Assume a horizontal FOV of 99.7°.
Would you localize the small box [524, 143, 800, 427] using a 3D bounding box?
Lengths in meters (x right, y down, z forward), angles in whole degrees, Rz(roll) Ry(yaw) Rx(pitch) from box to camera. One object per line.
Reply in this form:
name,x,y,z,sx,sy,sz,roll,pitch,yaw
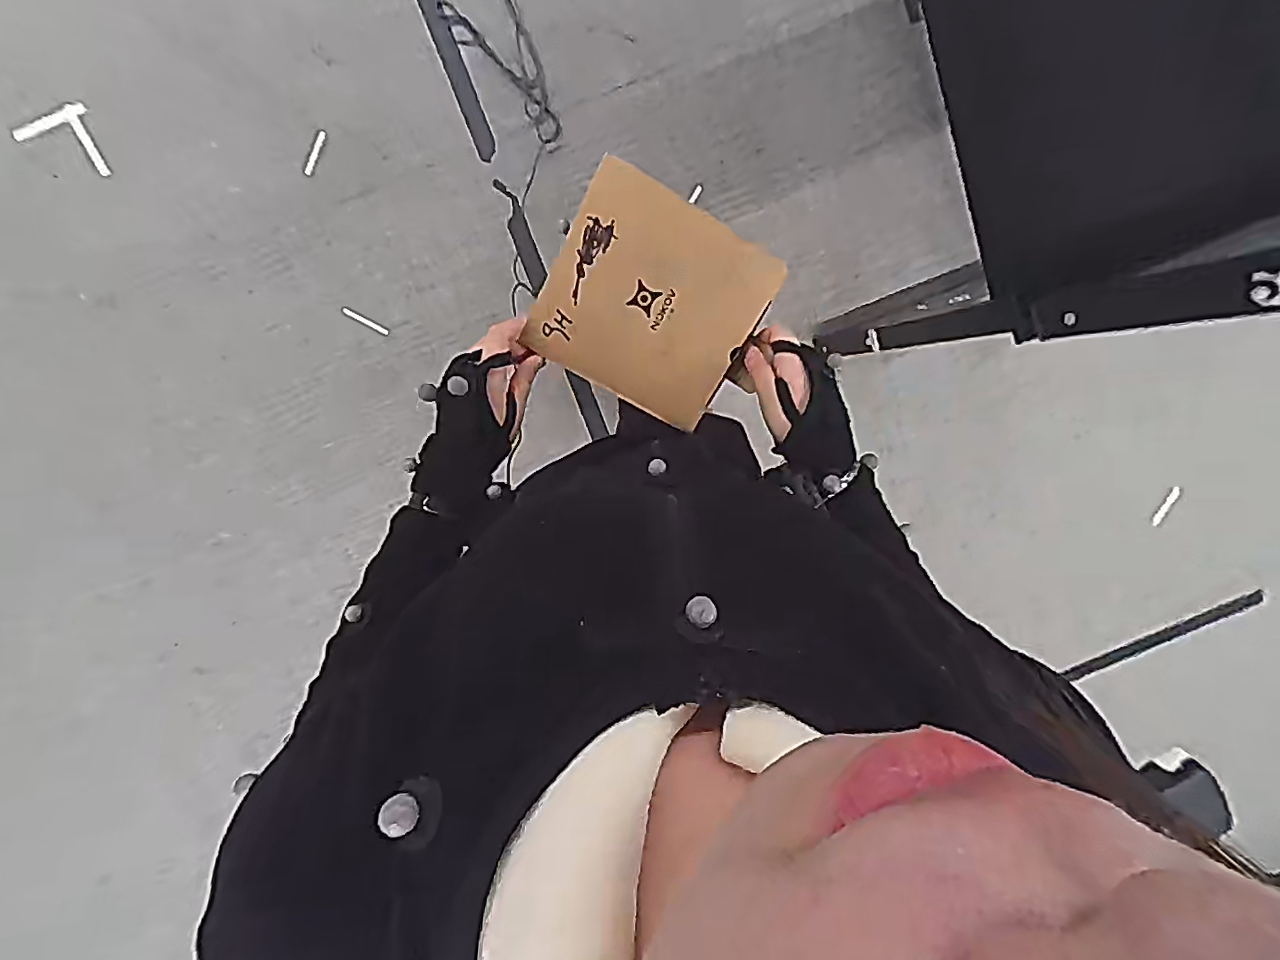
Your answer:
small box,0.013,-0.178,0.517,0.179,0.176,0.168,27,106,-12
